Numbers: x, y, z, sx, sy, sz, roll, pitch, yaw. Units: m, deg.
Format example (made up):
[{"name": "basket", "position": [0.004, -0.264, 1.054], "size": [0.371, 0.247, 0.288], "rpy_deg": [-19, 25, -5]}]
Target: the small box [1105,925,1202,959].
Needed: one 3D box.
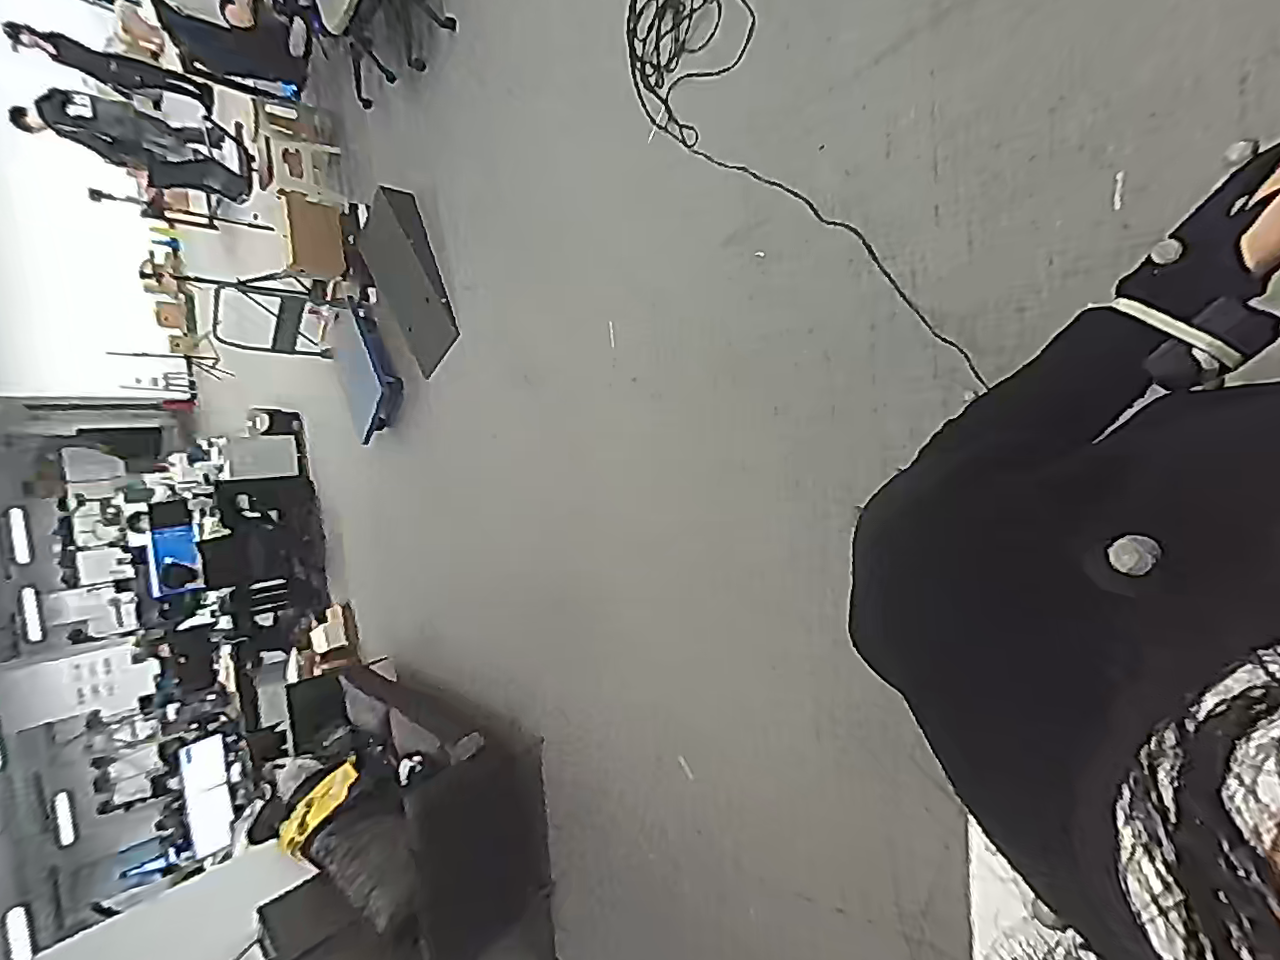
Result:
[{"name": "small box", "position": [0.647, 0.693, 0.629], "size": [0.168, 0.176, 0.179], "rpy_deg": [1, 96, 45]}]
